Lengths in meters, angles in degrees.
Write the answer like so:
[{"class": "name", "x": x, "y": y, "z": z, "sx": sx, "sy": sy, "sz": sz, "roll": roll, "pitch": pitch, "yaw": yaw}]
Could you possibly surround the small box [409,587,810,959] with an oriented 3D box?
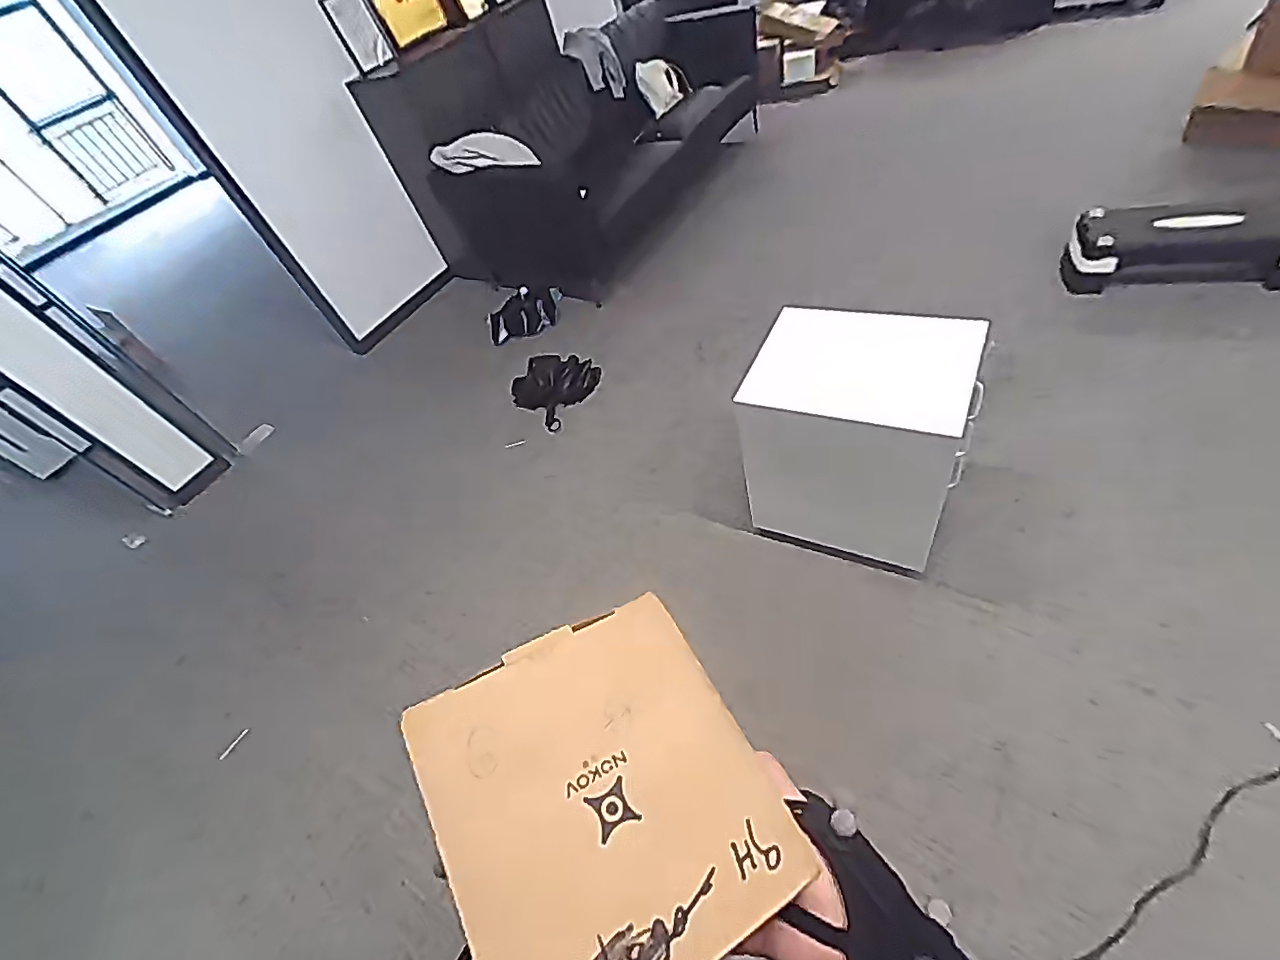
[{"class": "small box", "x": -0.031, "y": 0.207, "z": 0.356, "sx": 0.168, "sy": 0.176, "sz": 0.179, "roll": -21, "pitch": 60, "yaw": -22}]
